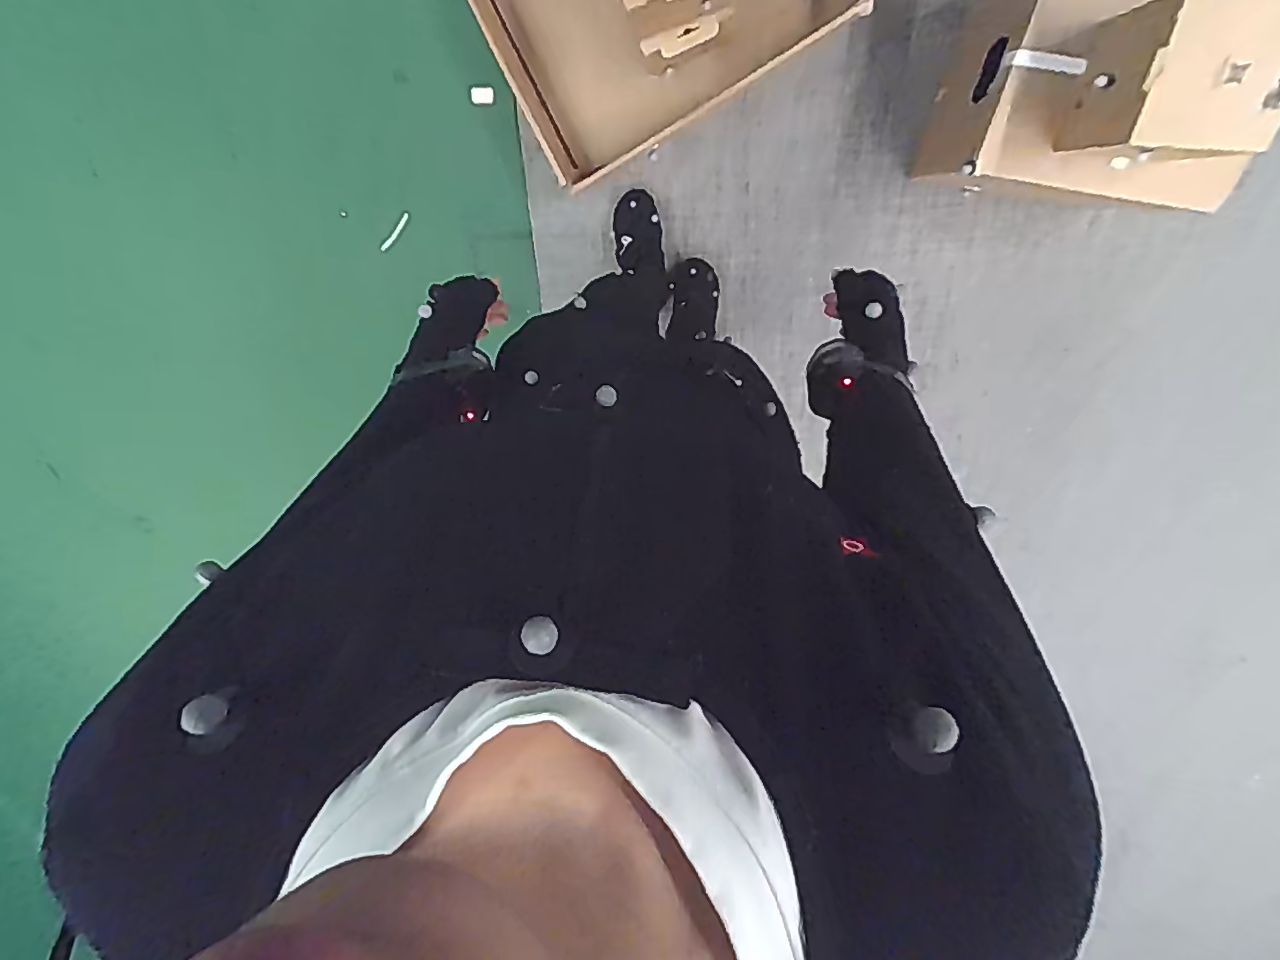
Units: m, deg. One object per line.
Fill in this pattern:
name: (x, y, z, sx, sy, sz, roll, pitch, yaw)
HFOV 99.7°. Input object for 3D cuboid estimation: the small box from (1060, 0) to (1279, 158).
small box: (0.734, -0.544, 0.741, 0.179, 0.176, 0.168, 6, 119, 4)

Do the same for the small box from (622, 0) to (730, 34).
small box: (0.044, -0.808, 0.807, 0.168, 0.176, 0.179, -12, 112, 13)

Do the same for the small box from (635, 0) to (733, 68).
small box: (0.065, -0.867, 0.956, 0.168, 0.176, 0.179, -15, 113, 16)
